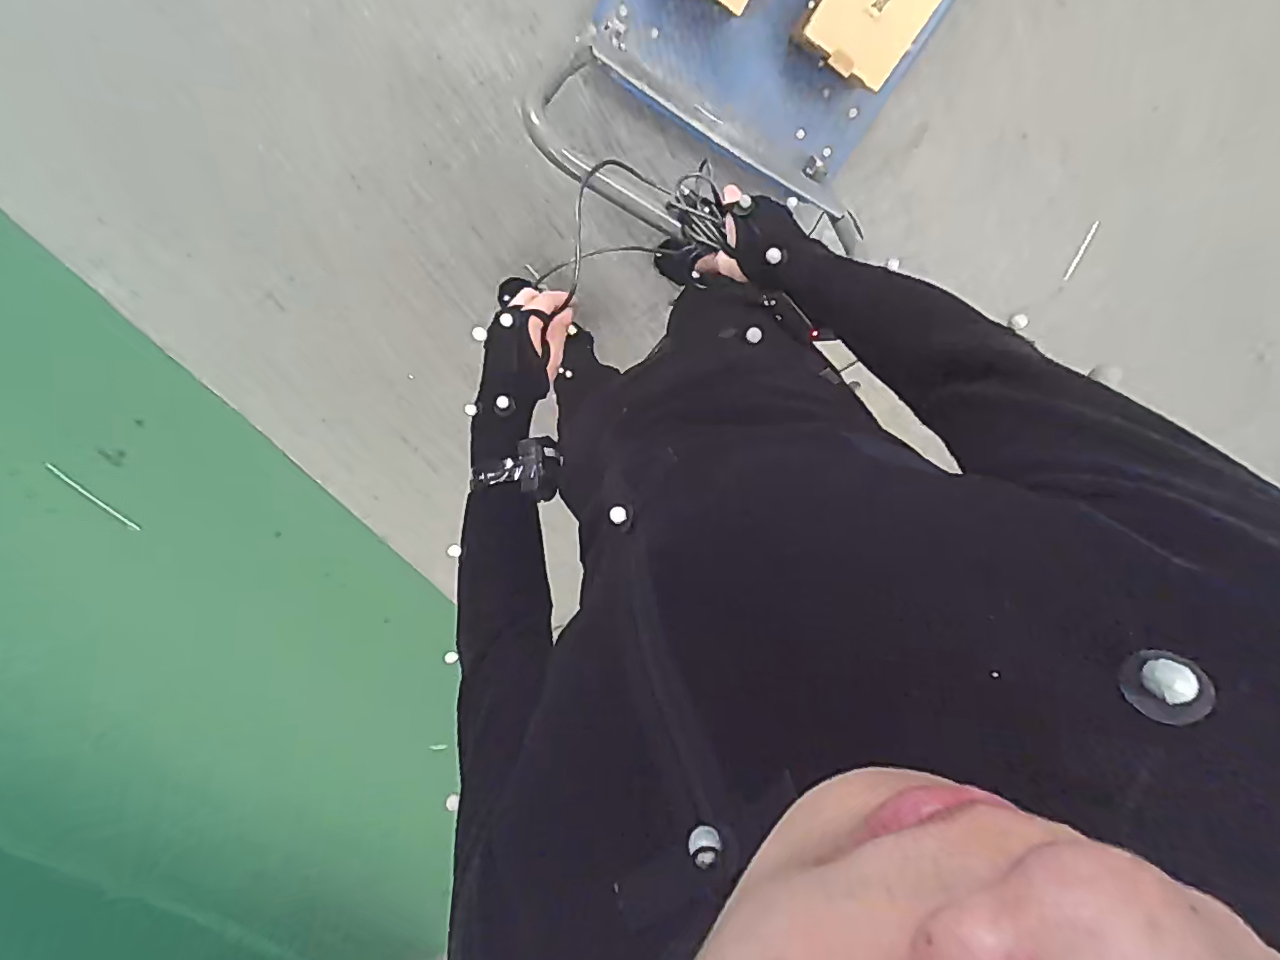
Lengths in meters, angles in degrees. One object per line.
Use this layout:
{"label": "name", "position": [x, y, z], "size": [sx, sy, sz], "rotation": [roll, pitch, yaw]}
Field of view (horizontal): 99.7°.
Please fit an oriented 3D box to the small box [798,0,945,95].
{"label": "small box", "position": [0.394, -0.814, 0.936], "size": [0.168, 0.176, 0.179], "rotation": [26, 128, -15]}
